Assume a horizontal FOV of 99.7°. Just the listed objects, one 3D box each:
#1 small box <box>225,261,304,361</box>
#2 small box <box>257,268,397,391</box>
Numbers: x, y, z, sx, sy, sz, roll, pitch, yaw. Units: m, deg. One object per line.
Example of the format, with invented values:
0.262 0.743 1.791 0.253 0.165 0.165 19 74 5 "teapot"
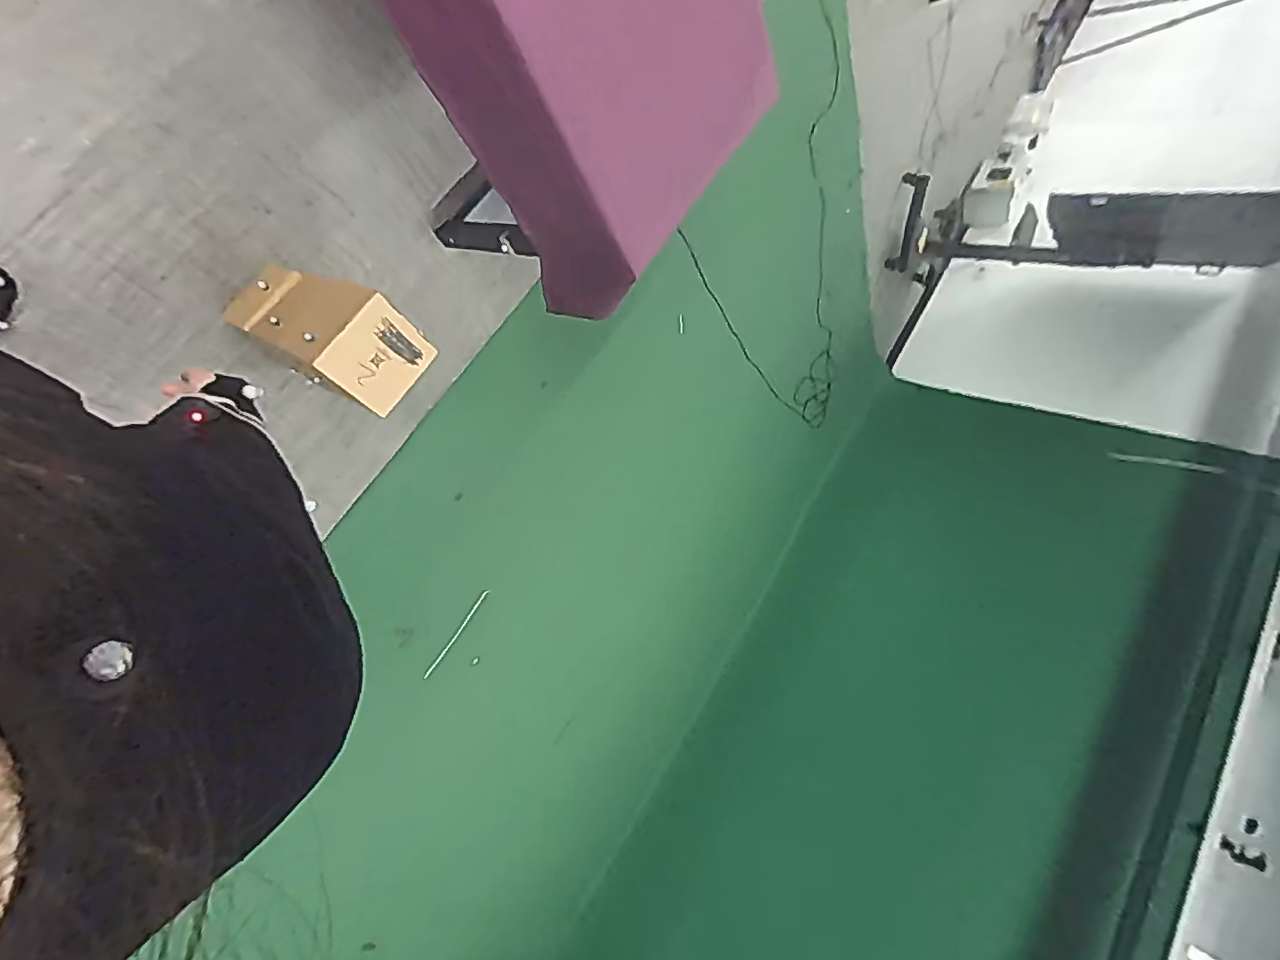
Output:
-0.794 -0.379 1.235 0.168 0.176 0.179 -57 144 -12 "small box"
-0.669 -0.322 1.148 0.179 0.176 0.168 -56 145 -15 "small box"
